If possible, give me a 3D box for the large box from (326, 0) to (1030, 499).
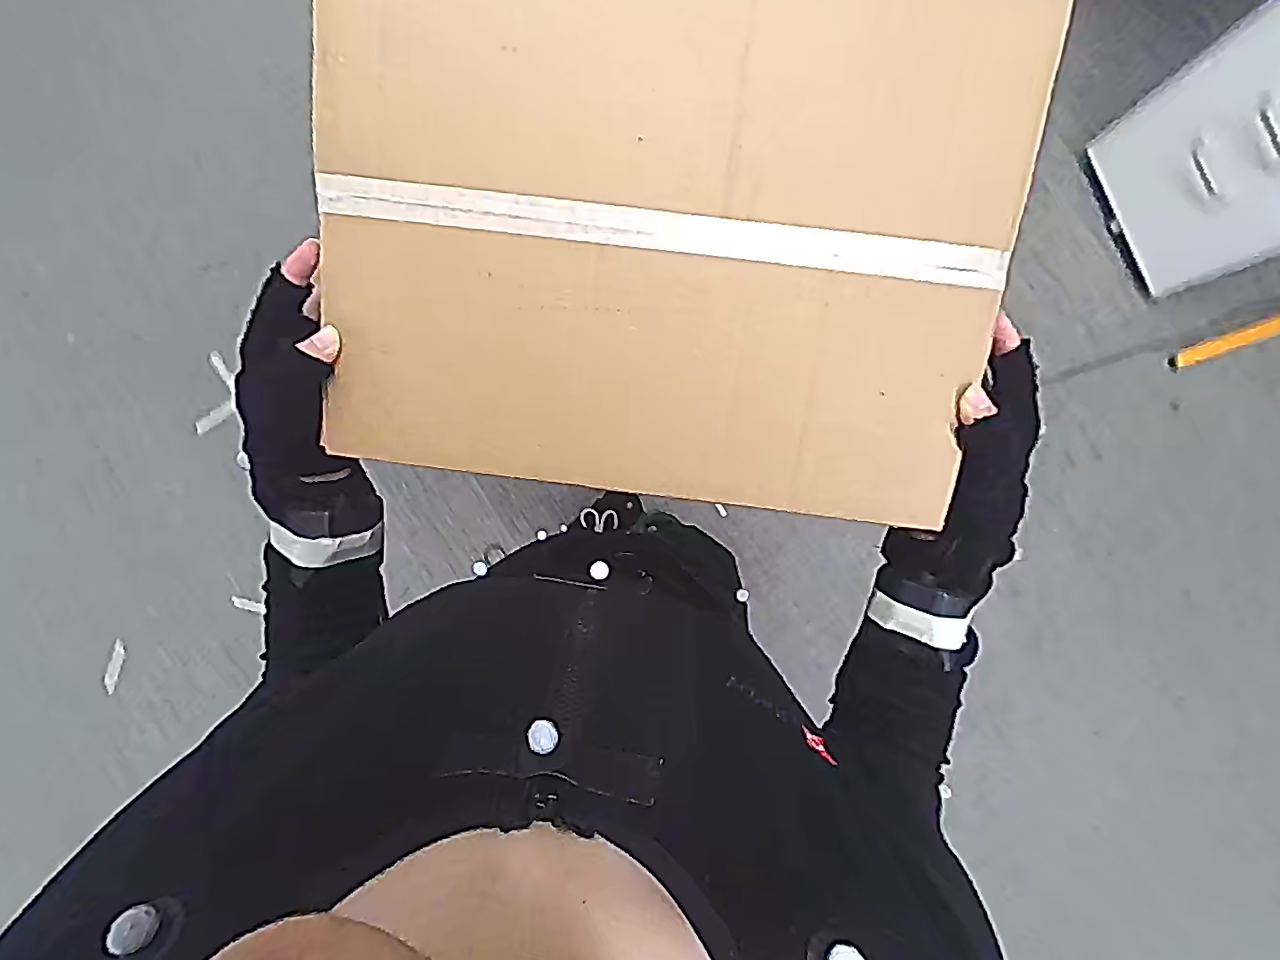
[{"bbox_3d":[0.011,-0.181,0.476,0.408,0.320,0.320,6,103,0],"label":"large box"}]
